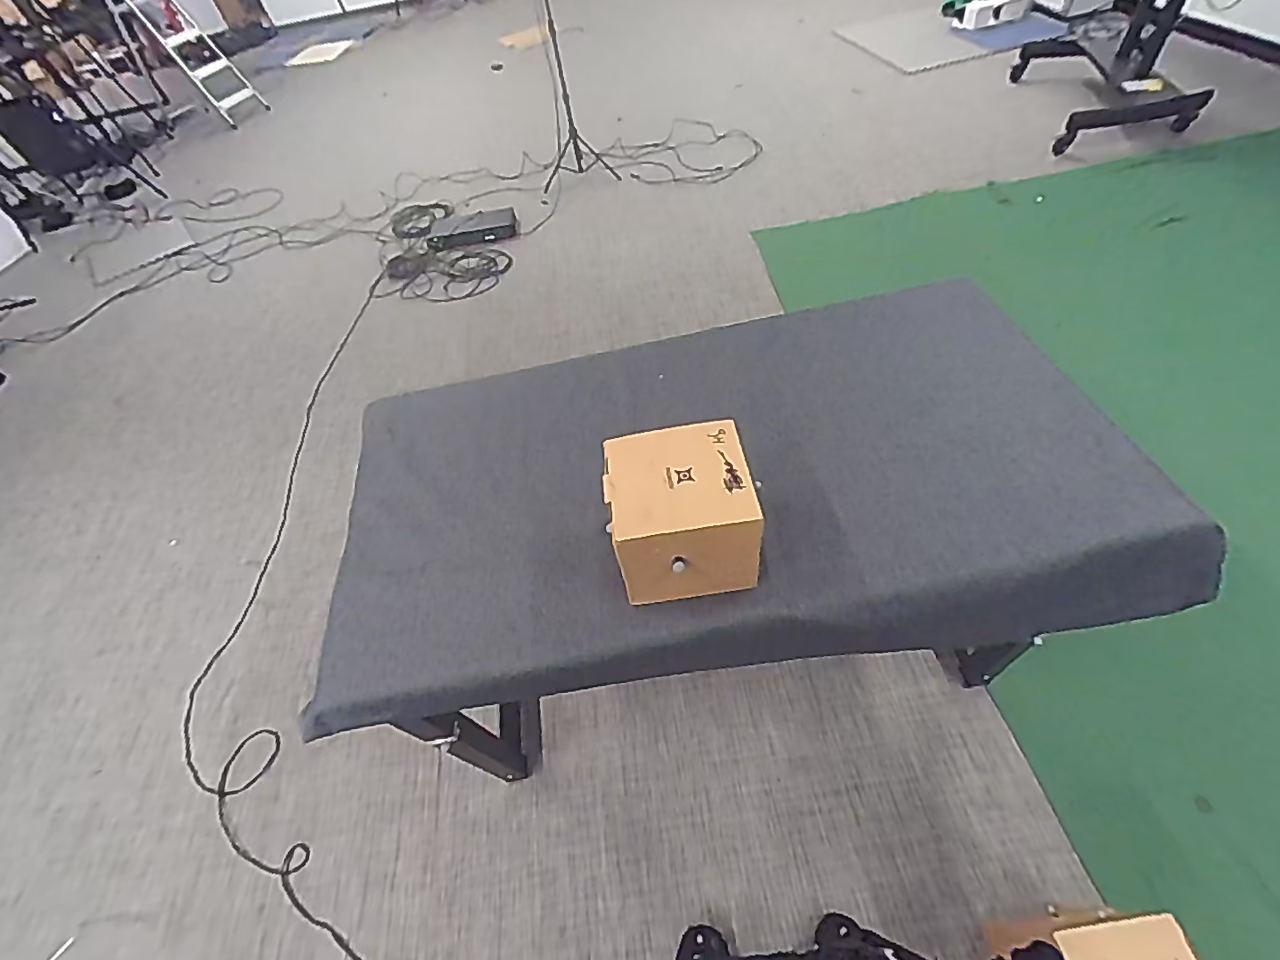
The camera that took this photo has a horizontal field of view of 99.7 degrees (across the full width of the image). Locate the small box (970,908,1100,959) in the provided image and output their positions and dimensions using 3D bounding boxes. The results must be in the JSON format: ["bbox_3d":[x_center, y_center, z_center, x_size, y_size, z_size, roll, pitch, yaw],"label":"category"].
[{"bbox_3d":[0.718,0.858,0.934,0.179,0.176,0.168,-12,51,1],"label":"small box"}]

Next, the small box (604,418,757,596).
[{"bbox_3d":[0.054,0.043,0.731,0.179,0.176,0.168,-8,51,2],"label":"small box"}]

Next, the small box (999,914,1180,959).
[{"bbox_3d":[0.687,0.761,0.804,0.179,0.176,0.168,-10,51,2],"label":"small box"}]
